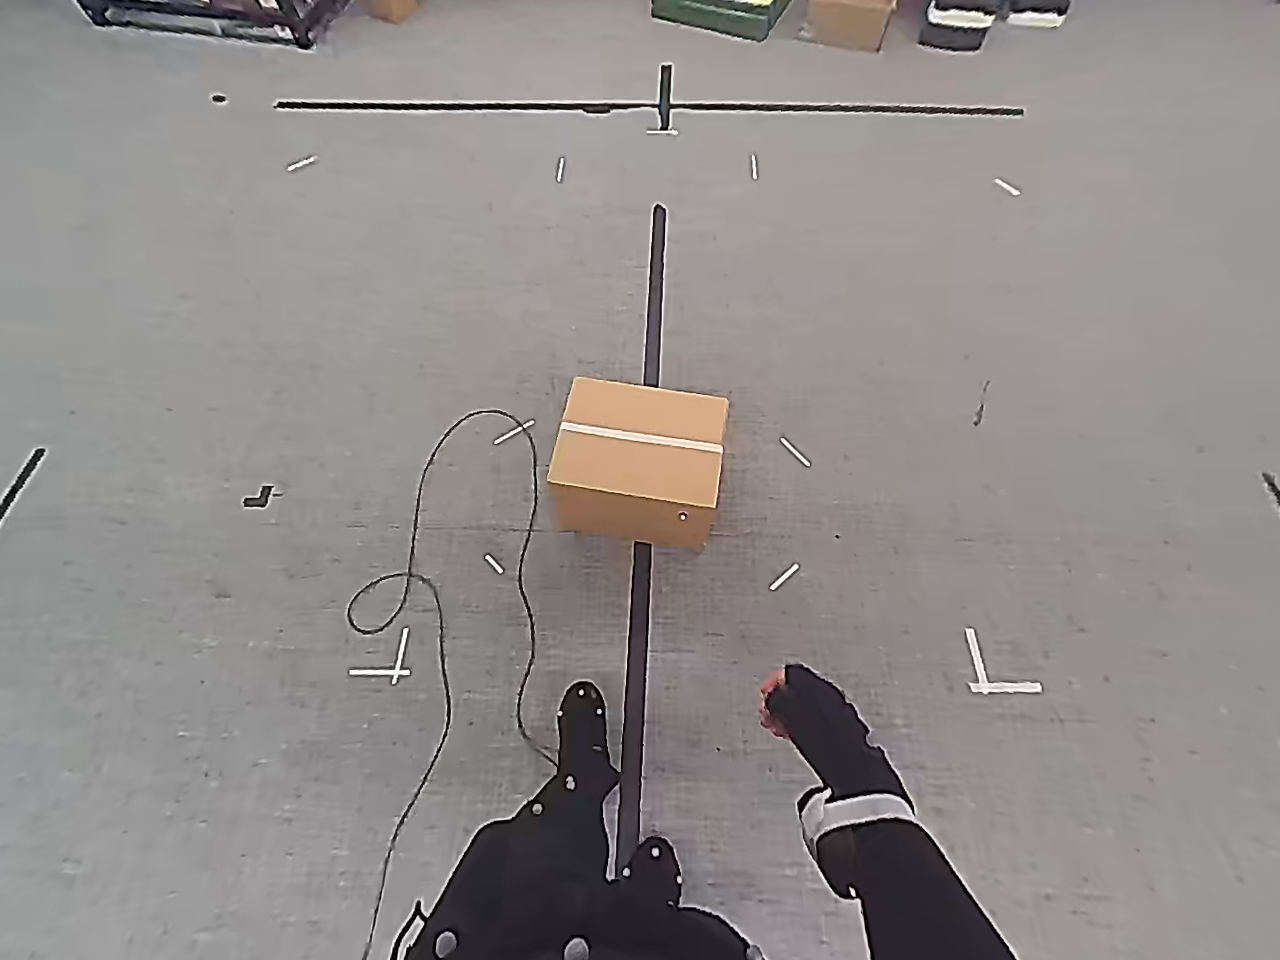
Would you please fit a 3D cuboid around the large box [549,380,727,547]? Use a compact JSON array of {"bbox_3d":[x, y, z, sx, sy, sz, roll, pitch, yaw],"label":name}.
[{"bbox_3d":[0.004,-0.032,1.451,0.408,0.320,0.320,9,64,4],"label":"large box"}]
